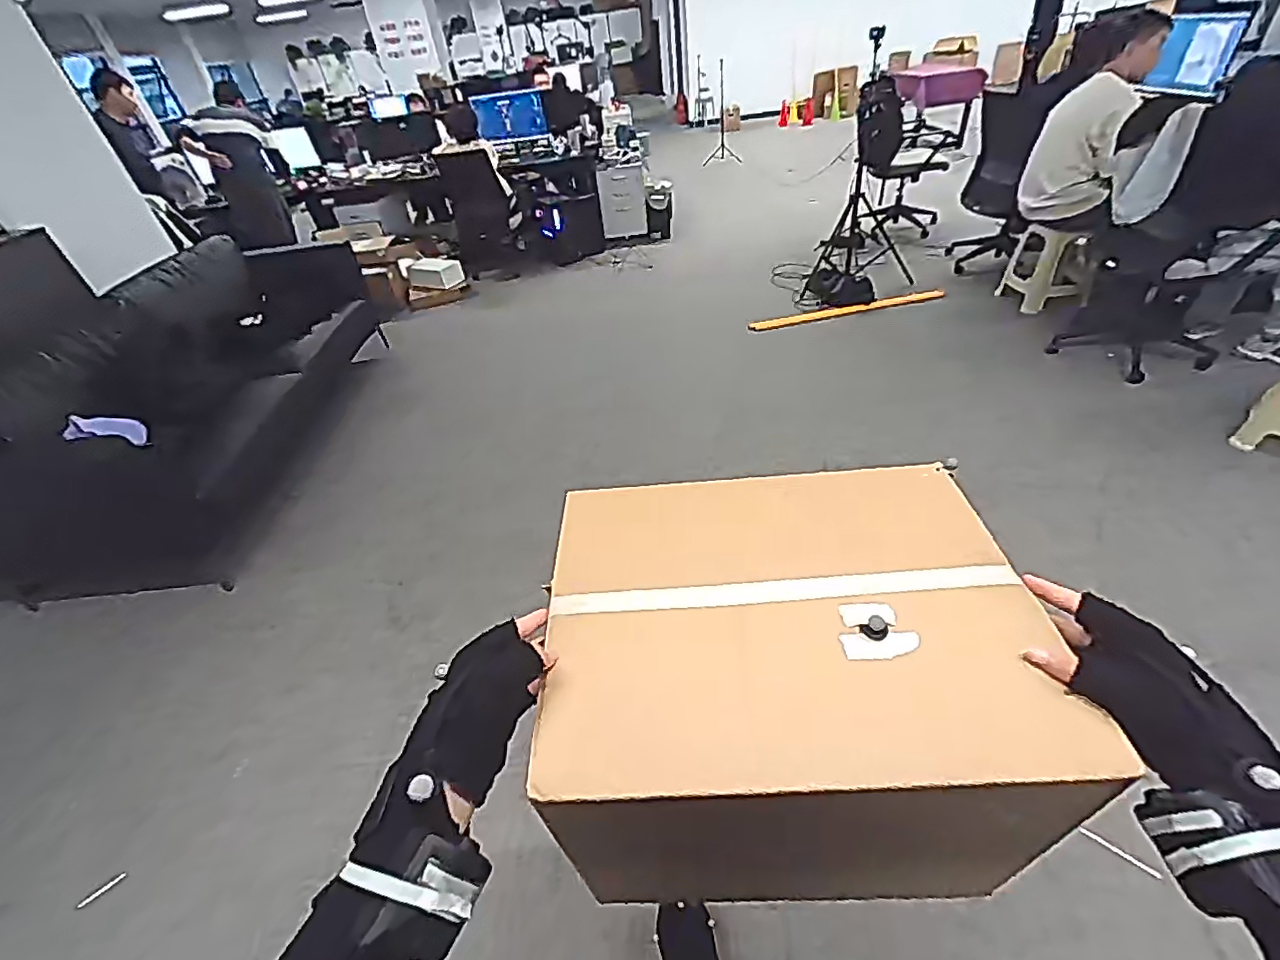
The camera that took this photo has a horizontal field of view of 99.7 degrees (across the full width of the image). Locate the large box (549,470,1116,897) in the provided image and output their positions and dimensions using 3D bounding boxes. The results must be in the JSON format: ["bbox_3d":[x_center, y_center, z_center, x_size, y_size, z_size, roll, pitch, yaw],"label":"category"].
[{"bbox_3d":[0.139,0.216,0.584,0.408,0.320,0.320,-4,41,3],"label":"large box"}]
